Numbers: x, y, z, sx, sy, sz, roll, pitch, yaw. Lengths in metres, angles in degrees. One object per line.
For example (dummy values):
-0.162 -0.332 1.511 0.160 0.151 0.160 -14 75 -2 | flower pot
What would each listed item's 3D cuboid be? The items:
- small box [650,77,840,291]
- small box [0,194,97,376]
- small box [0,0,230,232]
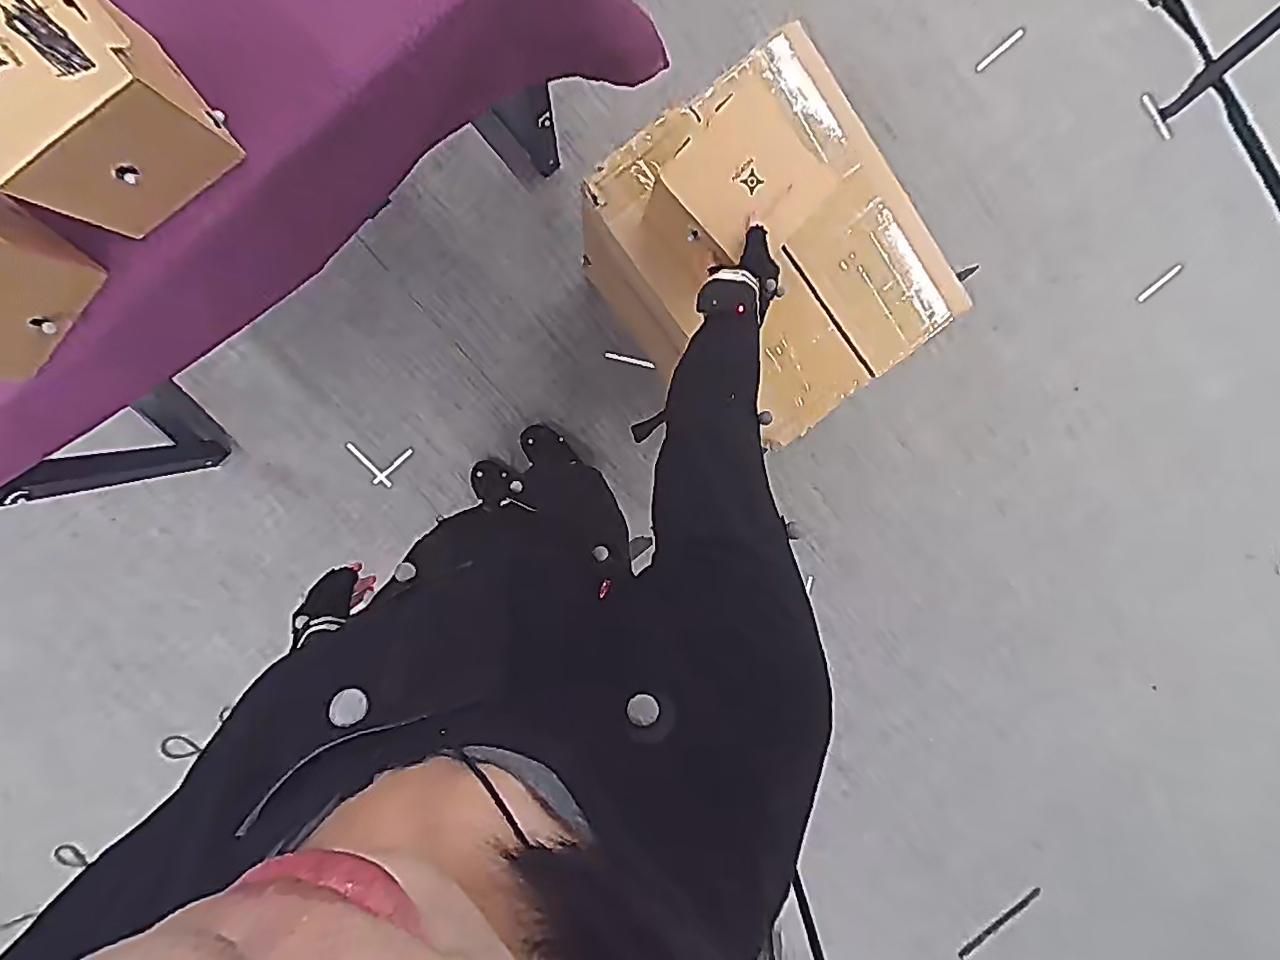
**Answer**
0.131 -0.390 0.755 0.179 0.176 0.168 43 95 -11 | small box
-0.768 -0.234 0.588 0.168 0.176 0.179 38 92 -8 | small box
-0.594 -0.405 0.579 0.179 0.176 0.168 -36 99 1 | small box
